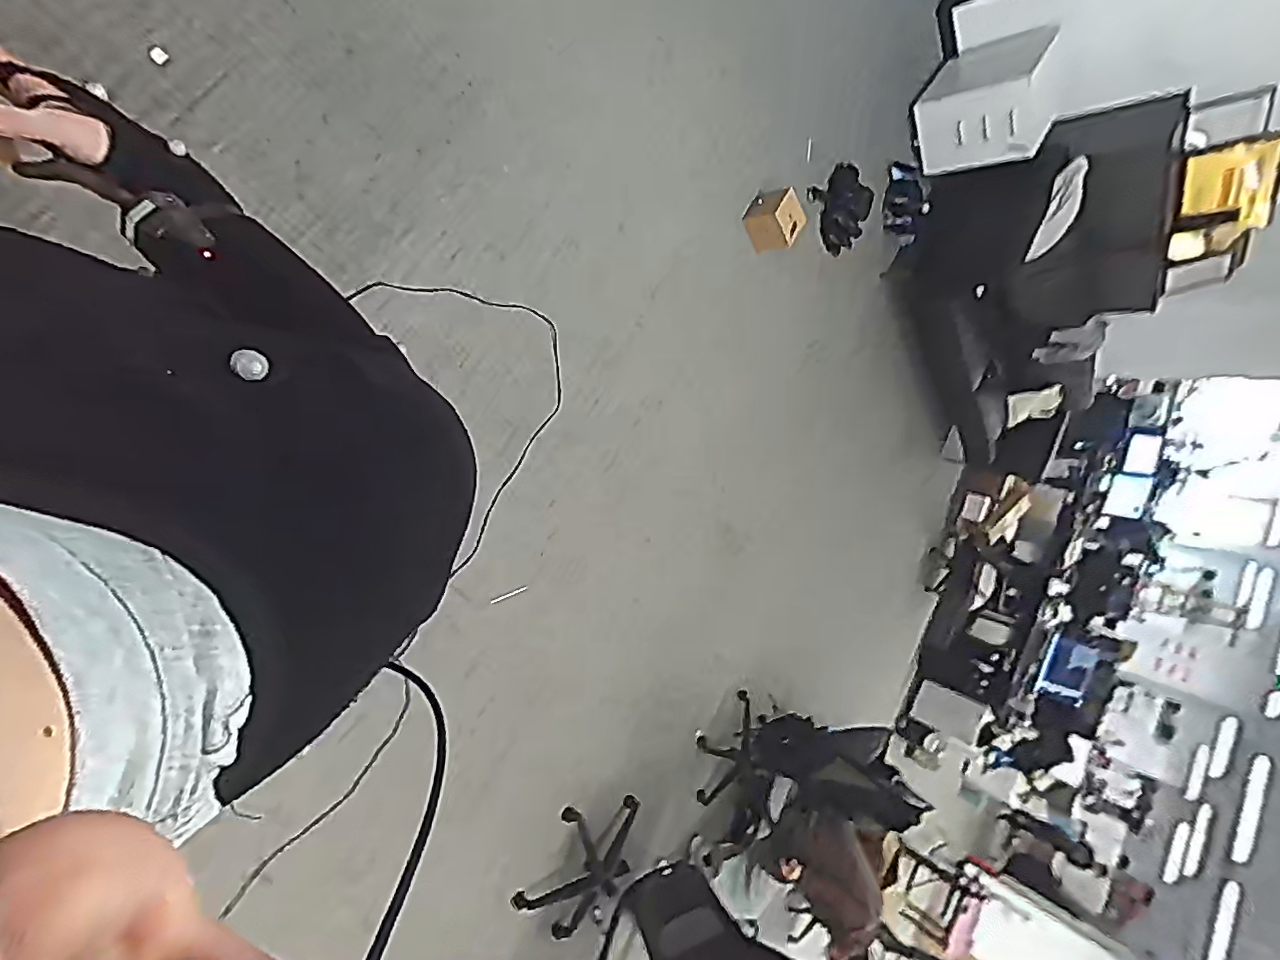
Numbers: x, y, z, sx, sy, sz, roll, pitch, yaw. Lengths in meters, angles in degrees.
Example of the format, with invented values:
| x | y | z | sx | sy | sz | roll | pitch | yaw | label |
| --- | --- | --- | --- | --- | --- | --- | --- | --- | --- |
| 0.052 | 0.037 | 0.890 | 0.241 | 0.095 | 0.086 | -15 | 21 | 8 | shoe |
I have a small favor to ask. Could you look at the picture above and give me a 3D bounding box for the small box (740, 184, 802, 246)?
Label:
| x | y | z | sx | sy | sz | roll | pitch | yaw | label |
| --- | --- | --- | --- | --- | --- | --- | --- | --- | --- |
| 0.564 | -1.132 | 2.327 | 0.179 | 0.176 | 0.168 | 43 | 72 | -41 | small box |
